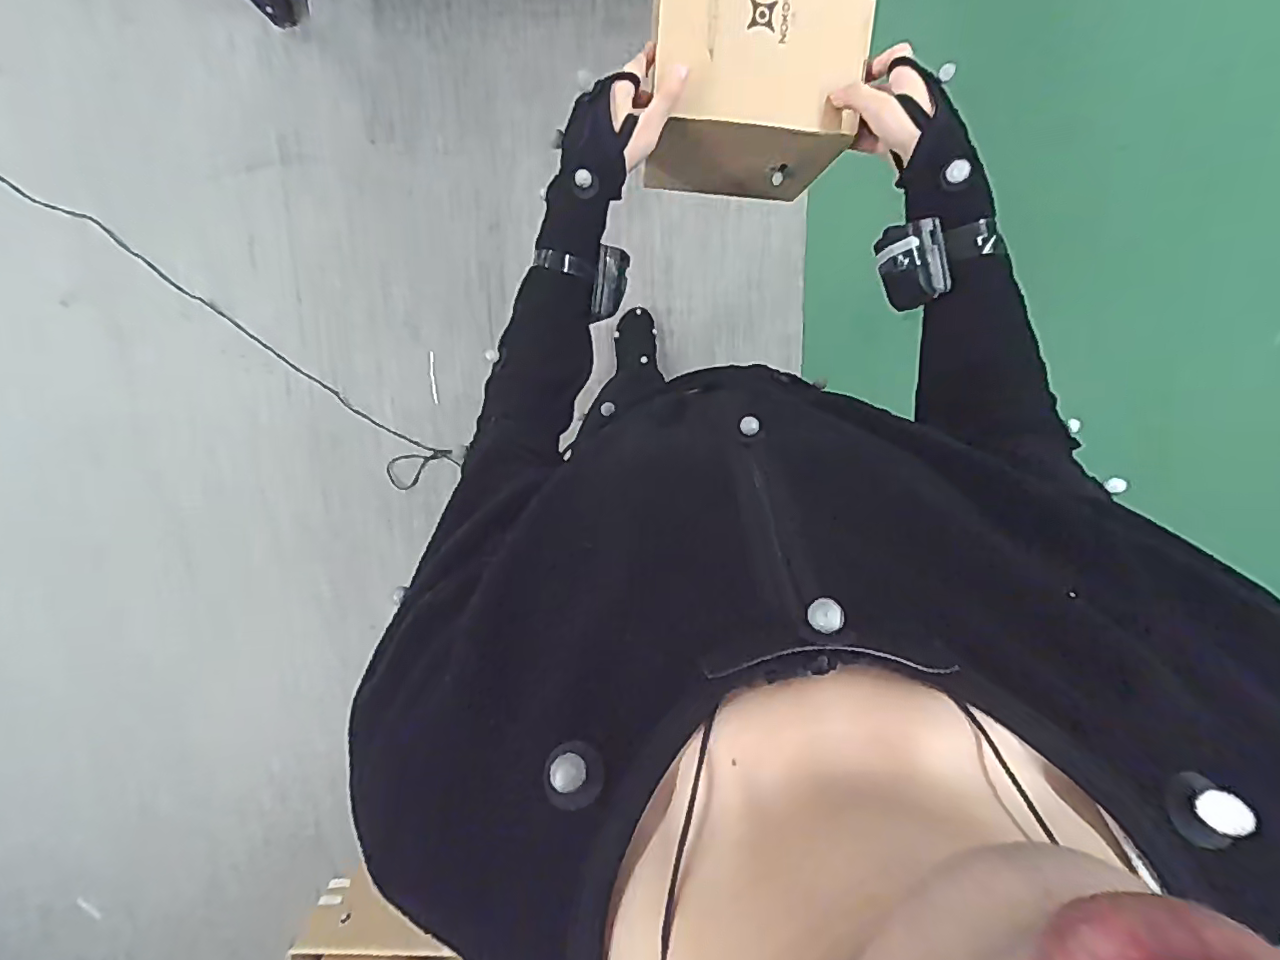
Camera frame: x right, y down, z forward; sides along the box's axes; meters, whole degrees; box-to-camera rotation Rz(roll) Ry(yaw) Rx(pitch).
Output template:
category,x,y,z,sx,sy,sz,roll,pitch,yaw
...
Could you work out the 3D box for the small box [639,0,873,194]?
category,x,y,z,sx,sy,sz,roll,pitch,yaw
small box,0.096,-0.388,0.508,0.179,0.176,0.168,4,99,-3
